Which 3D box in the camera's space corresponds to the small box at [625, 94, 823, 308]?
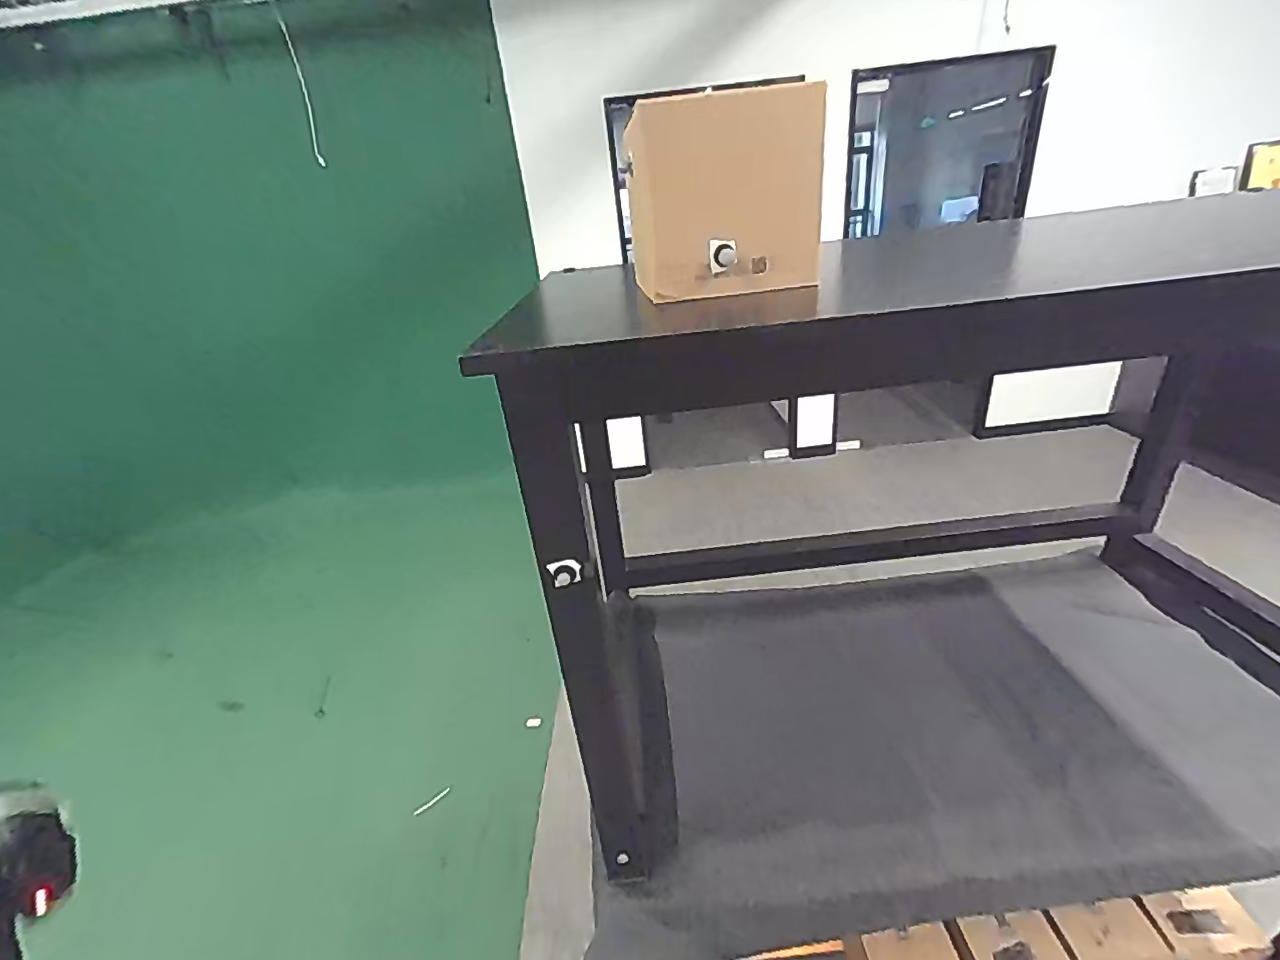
[{"bbox_3d":[0.078,-0.285,0.574,0.168,0.176,0.179,-9,27,-2],"label":"small box"}]
